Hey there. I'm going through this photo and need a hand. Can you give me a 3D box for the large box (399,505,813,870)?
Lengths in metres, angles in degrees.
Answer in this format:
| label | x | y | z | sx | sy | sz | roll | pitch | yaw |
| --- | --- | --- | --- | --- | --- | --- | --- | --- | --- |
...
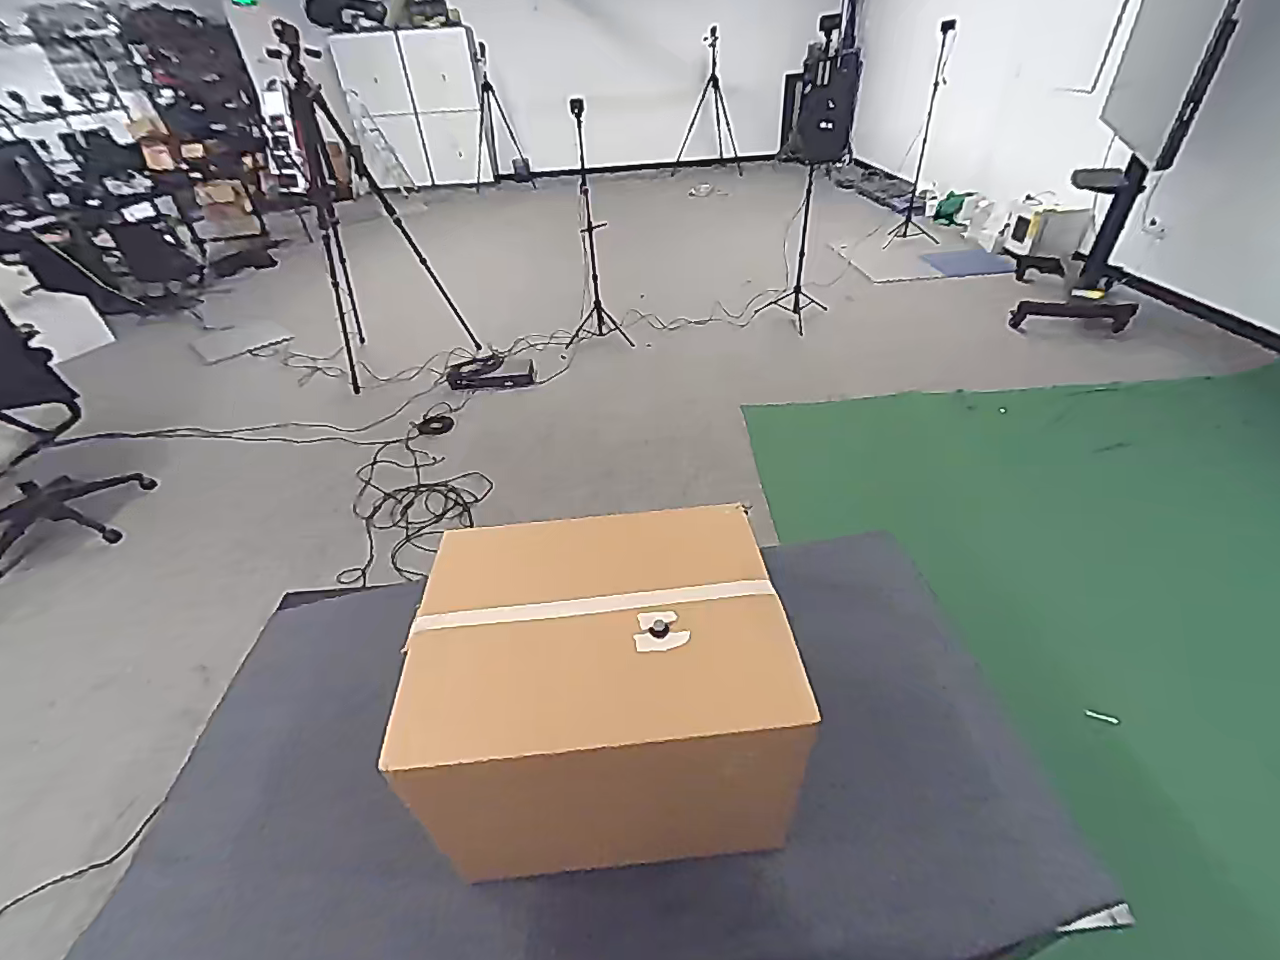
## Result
| label | x | y | z | sx | sy | sz | roll | pitch | yaw |
| --- | --- | --- | --- | --- | --- | --- | --- | --- | --- |
| large box | -0.037 | 0.264 | 0.715 | 0.408 | 0.320 | 0.320 | -5 | 39 | -2 |
